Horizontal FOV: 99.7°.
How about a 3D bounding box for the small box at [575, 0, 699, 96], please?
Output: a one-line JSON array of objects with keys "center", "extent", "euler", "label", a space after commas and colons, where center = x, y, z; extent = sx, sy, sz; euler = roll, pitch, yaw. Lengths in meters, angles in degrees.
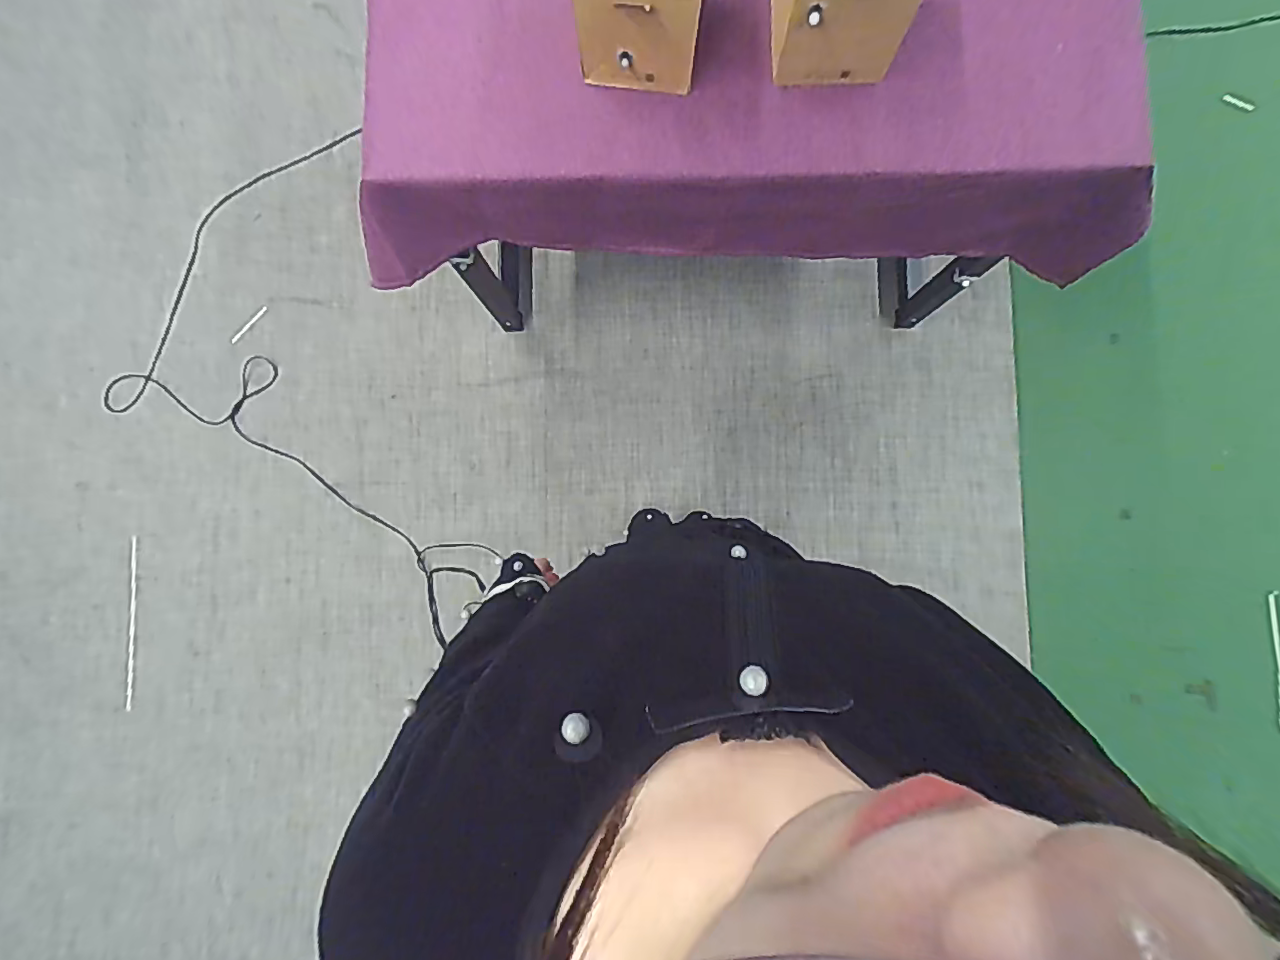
[{"center": [0.001, -0.708, 0.781], "extent": [0.168, 0.176, 0.179], "euler": [8, 87, 2], "label": "small box"}]
